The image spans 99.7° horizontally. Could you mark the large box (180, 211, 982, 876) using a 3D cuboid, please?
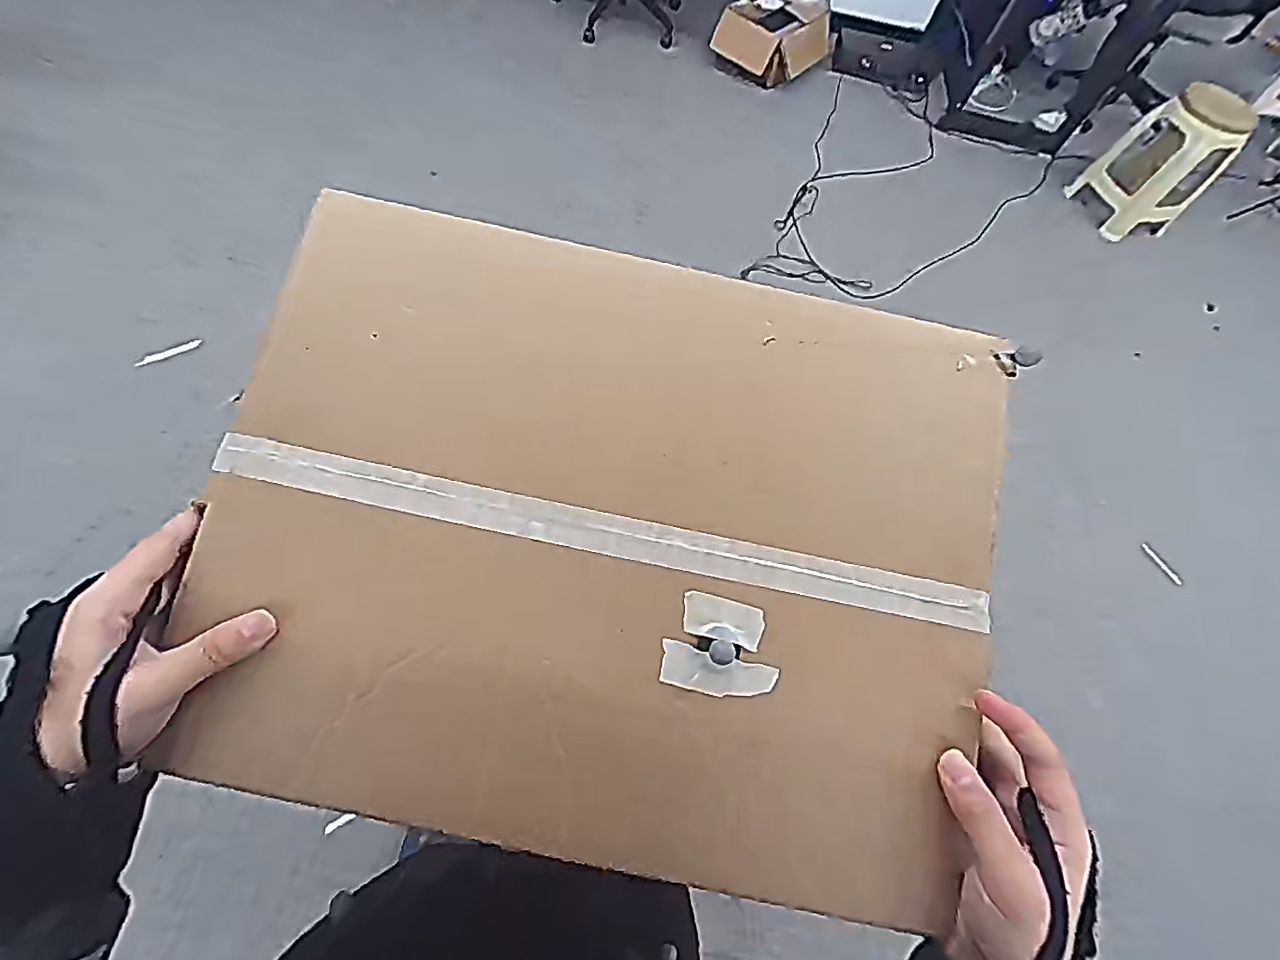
[{"bbox_3d":[-0.021,0.046,0.449,0.408,0.320,0.320,12,81,-1],"label":"large box"}]
